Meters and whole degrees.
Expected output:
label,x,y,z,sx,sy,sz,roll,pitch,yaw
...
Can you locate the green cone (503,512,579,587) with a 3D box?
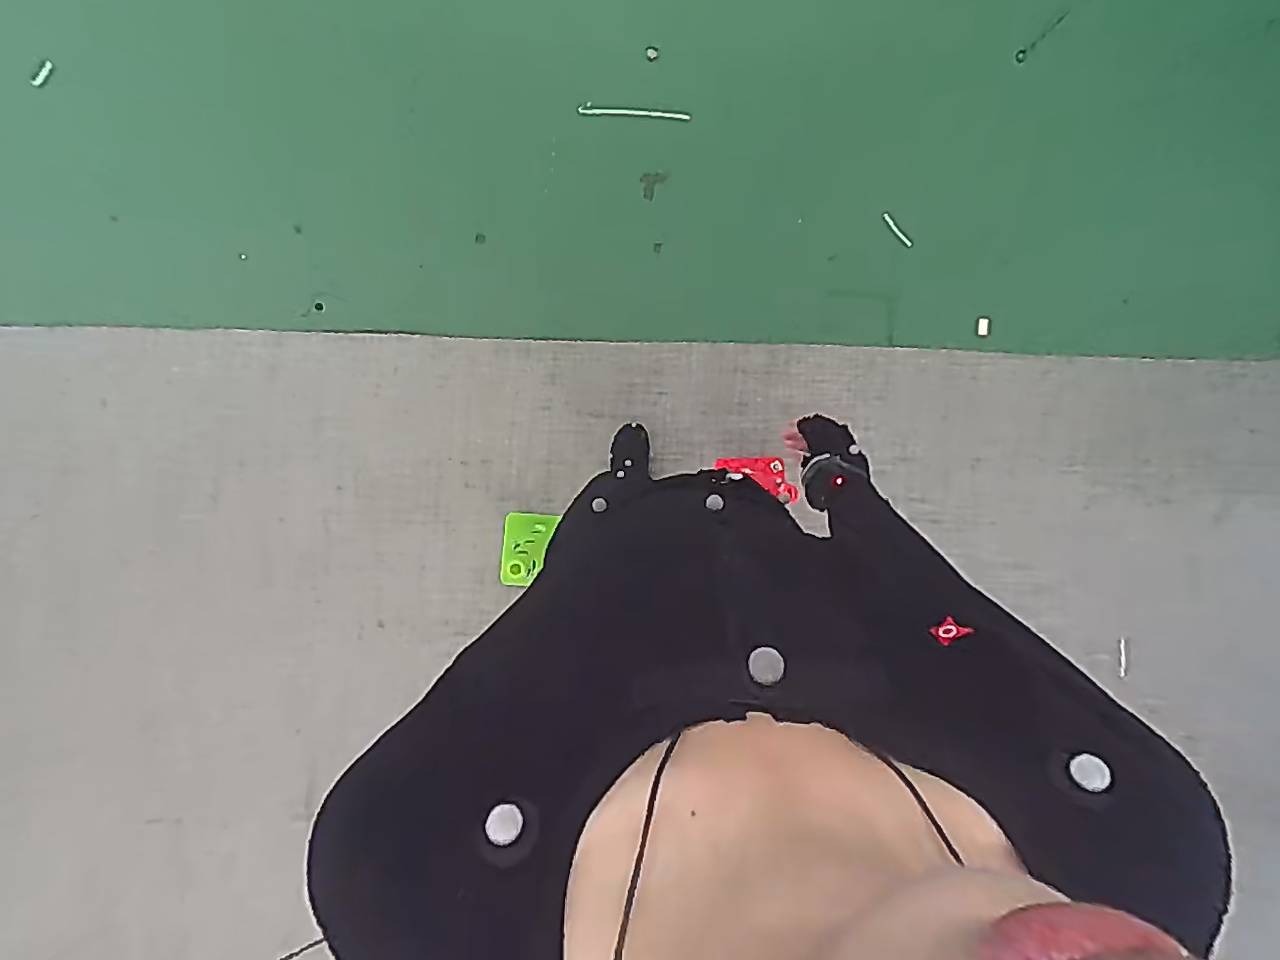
label,x,y,z,sx,sy,sz,roll,pitch,yaw
green cone,-0.267,0.191,1.310,0.200,0.368,0.202,3,90,-2
